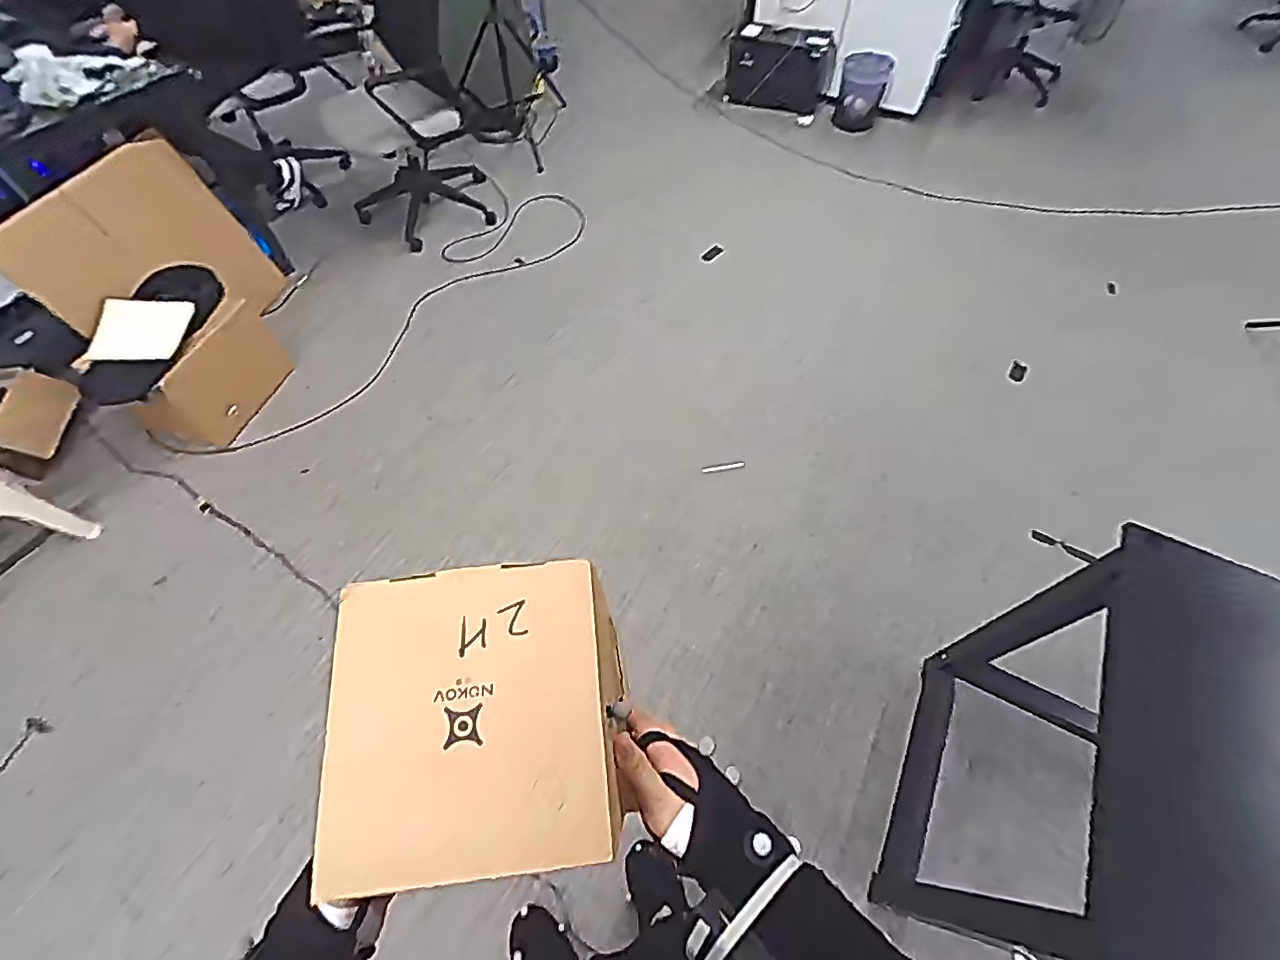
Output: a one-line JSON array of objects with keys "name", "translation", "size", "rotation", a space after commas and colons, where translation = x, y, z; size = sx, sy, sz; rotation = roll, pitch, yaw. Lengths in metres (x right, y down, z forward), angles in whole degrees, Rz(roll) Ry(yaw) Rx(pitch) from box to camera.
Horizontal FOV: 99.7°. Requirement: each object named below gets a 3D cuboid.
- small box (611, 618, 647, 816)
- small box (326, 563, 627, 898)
[{"name": "small box", "translation": [-0.092, 0.247, 0.551], "size": [0.179, 0.176, 0.168], "rotation": [-10, 66, -3]}, {"name": "small box", "translation": [-0.099, 0.174, 0.404], "size": [0.168, 0.176, 0.179], "rotation": [-6, 66, -2]}]
